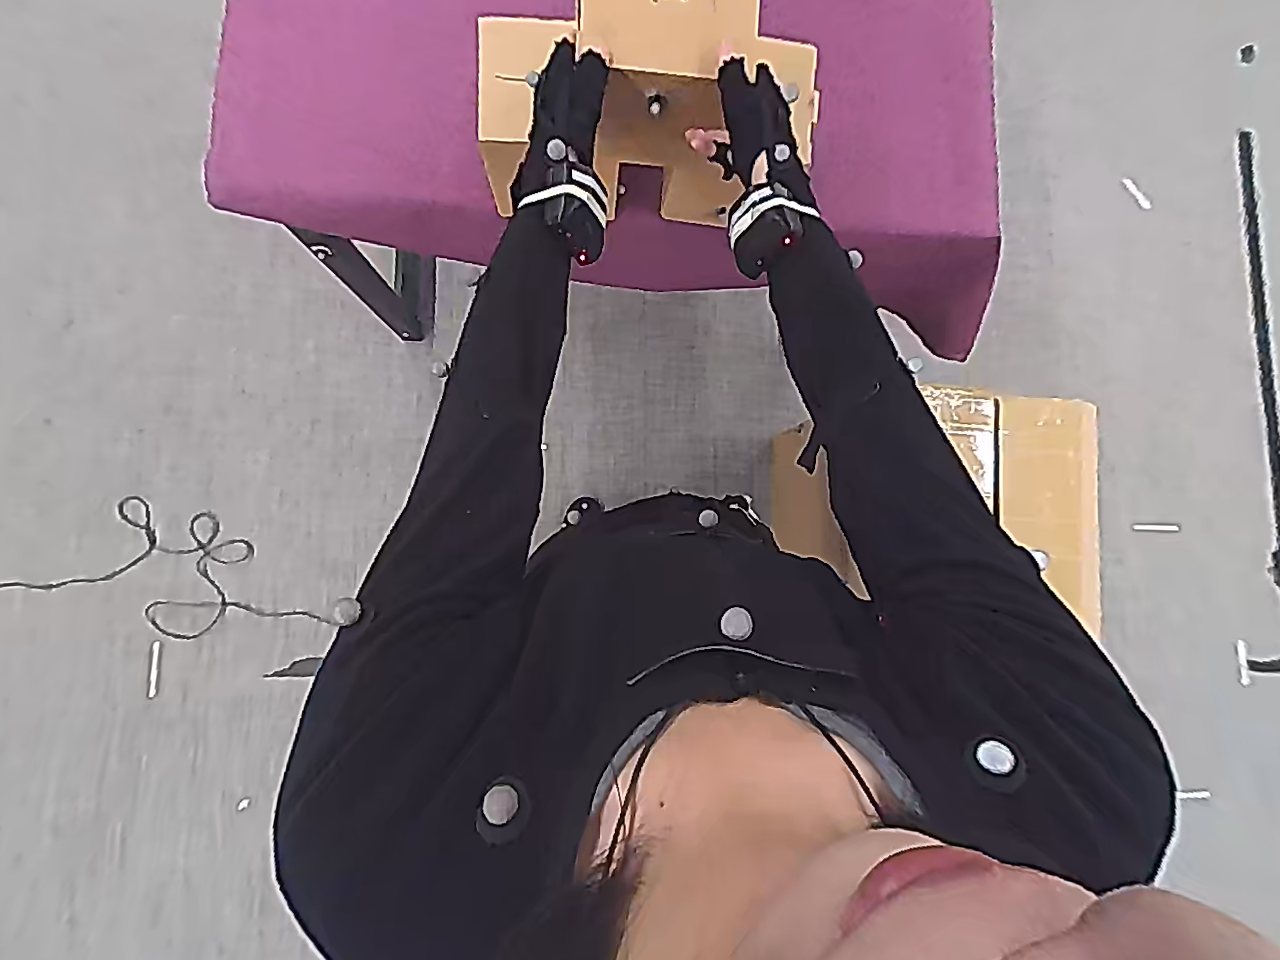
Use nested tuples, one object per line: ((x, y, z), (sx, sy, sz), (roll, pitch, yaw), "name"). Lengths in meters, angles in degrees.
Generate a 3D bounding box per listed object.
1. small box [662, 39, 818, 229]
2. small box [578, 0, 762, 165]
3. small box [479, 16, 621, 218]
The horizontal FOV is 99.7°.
((0.134, -0.486, 0.775), (0.179, 0.176, 0.168), (5, 84, -4), "small box")
((0.024, -0.475, 0.593), (0.179, 0.176, 0.168), (2, 93, -6), "small box")
((-0.116, -0.486, 0.749), (0.179, 0.176, 0.168), (0, 84, -4), "small box")
